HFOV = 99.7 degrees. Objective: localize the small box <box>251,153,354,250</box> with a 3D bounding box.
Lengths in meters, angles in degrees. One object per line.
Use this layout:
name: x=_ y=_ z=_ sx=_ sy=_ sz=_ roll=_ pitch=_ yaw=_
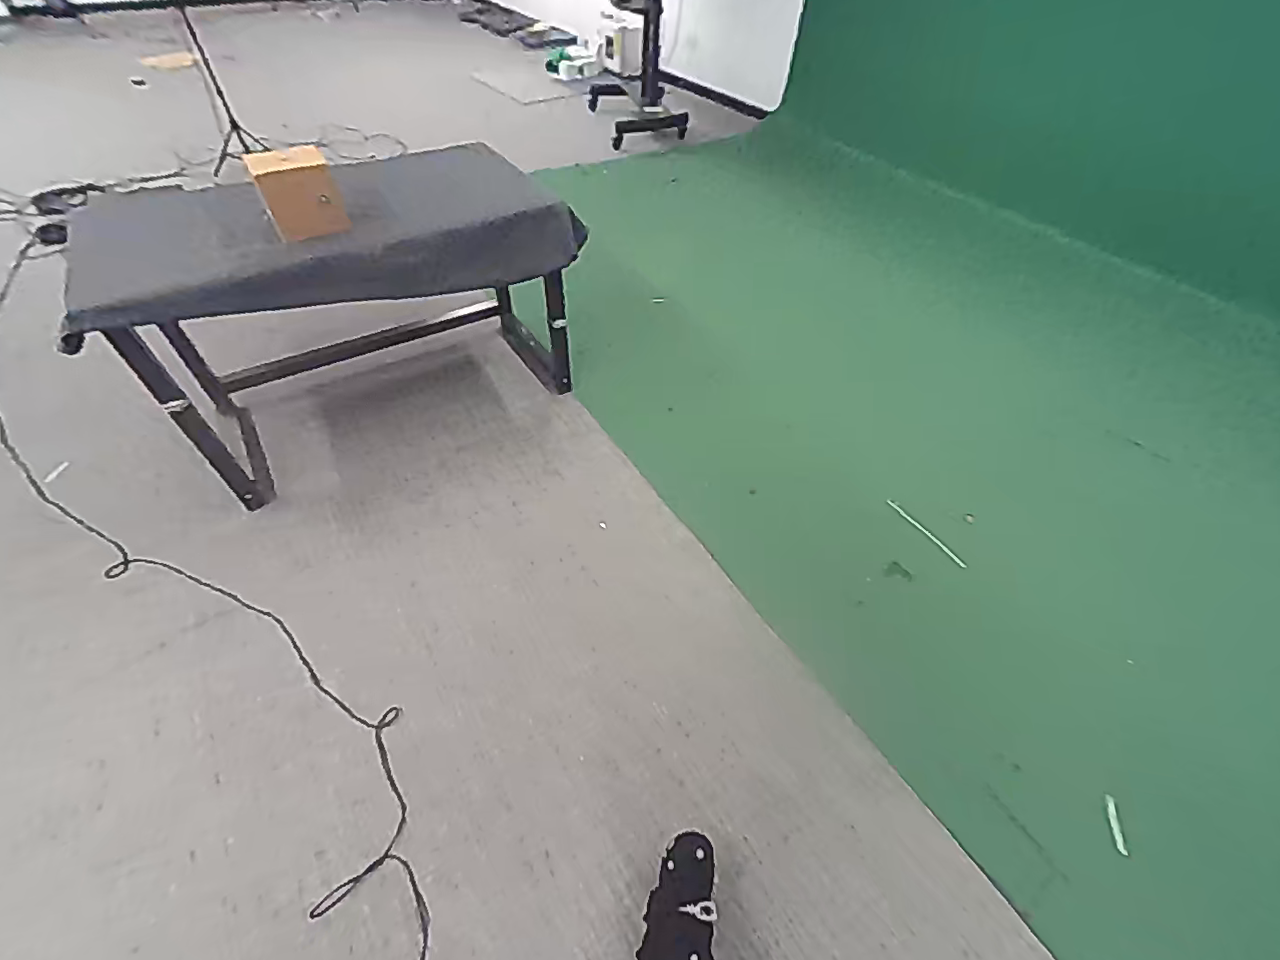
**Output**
small box: x=-0.883 y=-0.736 z=1.432 sx=0.179 sy=0.176 sz=0.168 roll=-27 pitch=53 yaw=-22
